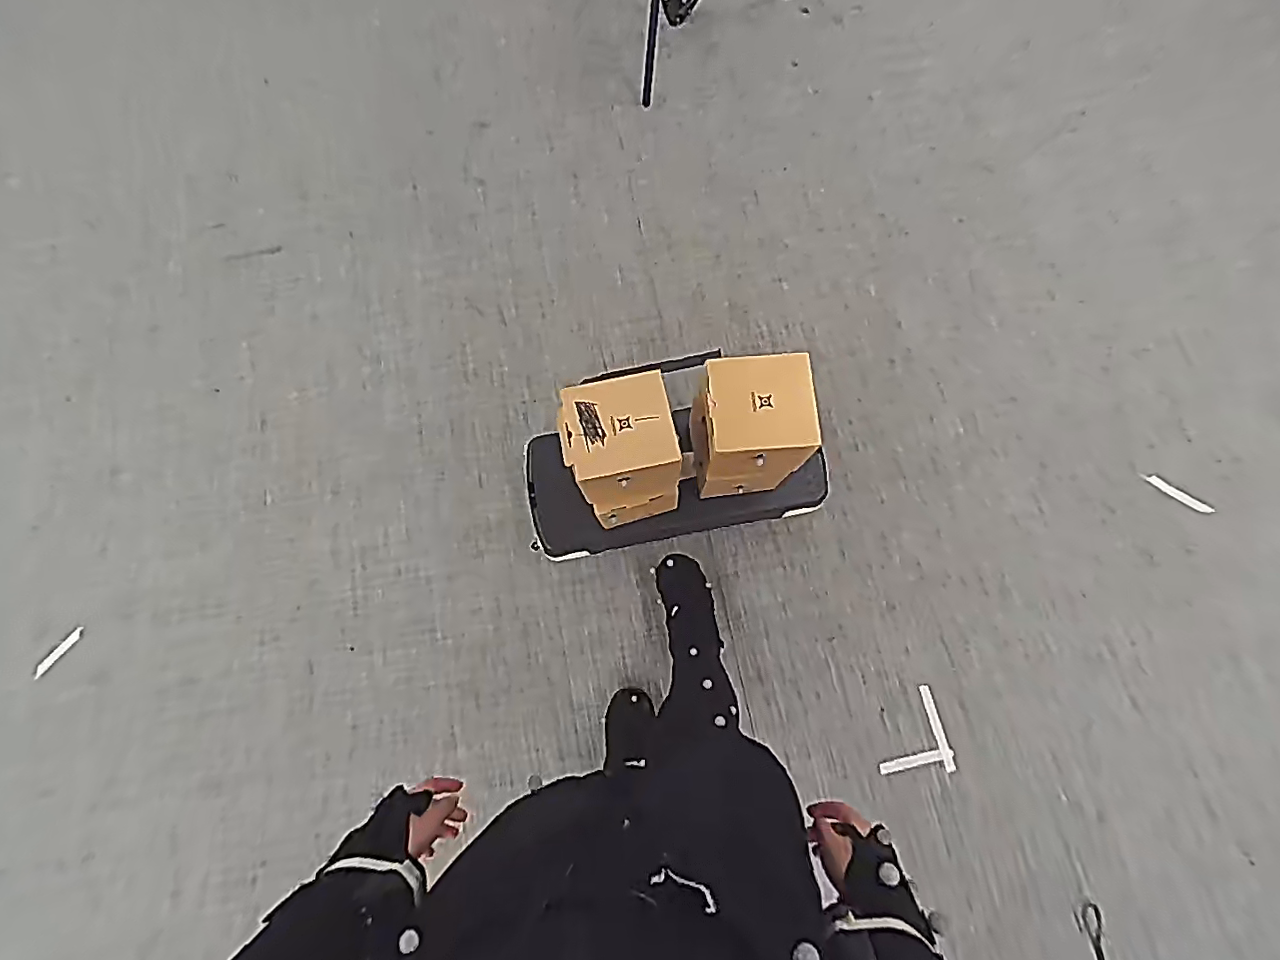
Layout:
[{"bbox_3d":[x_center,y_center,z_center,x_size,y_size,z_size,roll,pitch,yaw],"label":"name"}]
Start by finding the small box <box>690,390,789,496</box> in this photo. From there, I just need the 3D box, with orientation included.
[{"bbox_3d":[0.198,-0.068,1.122,0.168,0.176,0.179,-7,76,0],"label":"small box"}]
